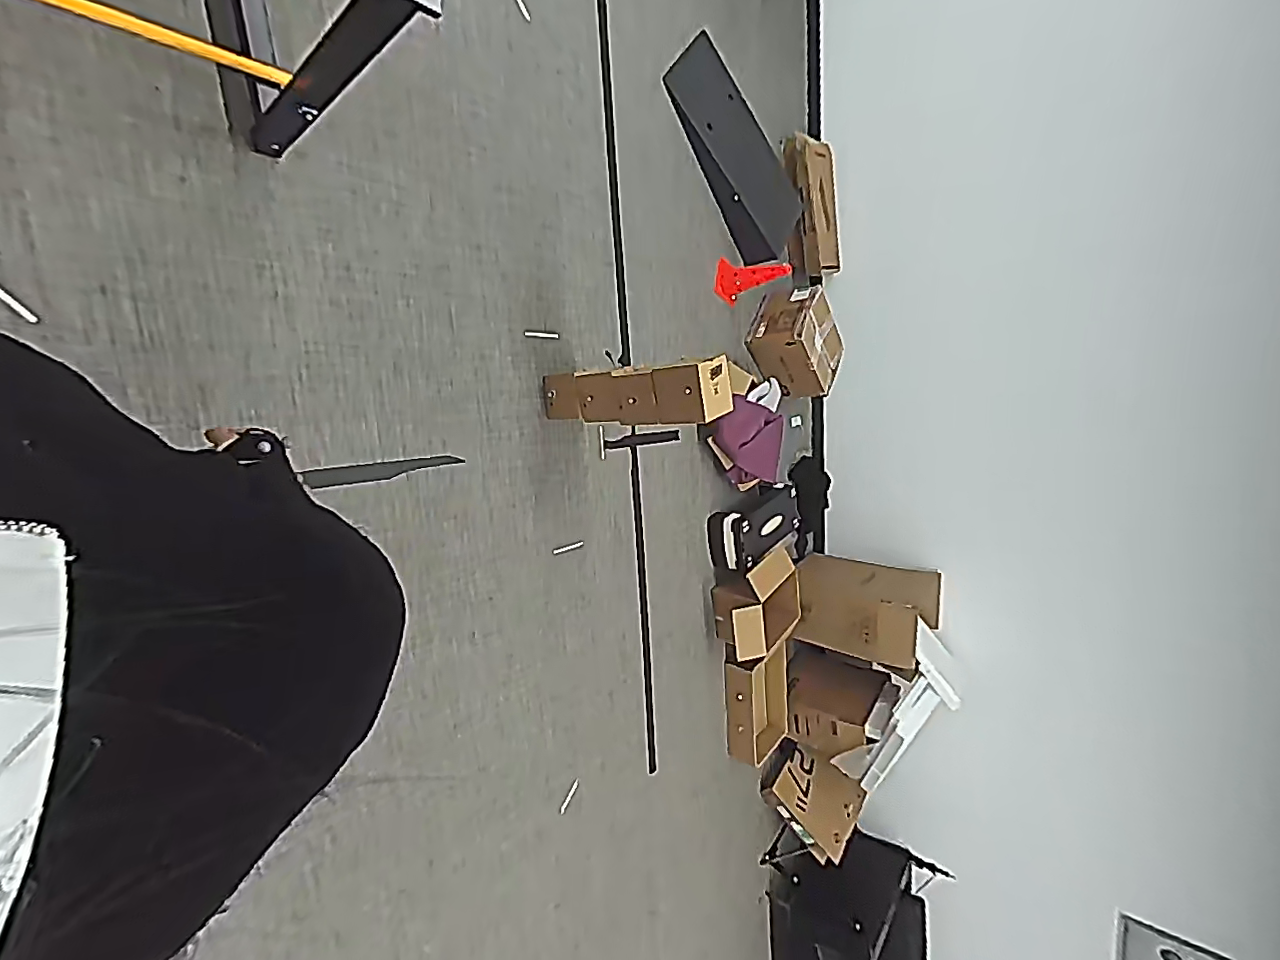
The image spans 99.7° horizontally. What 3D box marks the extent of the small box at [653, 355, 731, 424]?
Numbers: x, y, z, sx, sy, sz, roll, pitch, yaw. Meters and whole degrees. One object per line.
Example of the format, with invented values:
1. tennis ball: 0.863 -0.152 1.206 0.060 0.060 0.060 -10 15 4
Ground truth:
1. small box: 0.158 -0.276 1.662 0.168 0.176 0.179 -28 114 -46

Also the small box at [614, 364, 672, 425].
1. small box: 0.030 -0.279 1.766 0.179 0.176 0.168 -27 113 -46

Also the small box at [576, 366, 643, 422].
1. small box: -0.094 -0.299 1.872 0.179 0.176 0.168 -25 110 -46

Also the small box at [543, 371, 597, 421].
1. small box: -0.229 -0.308 1.968 0.179 0.176 0.168 -18 105 -47
